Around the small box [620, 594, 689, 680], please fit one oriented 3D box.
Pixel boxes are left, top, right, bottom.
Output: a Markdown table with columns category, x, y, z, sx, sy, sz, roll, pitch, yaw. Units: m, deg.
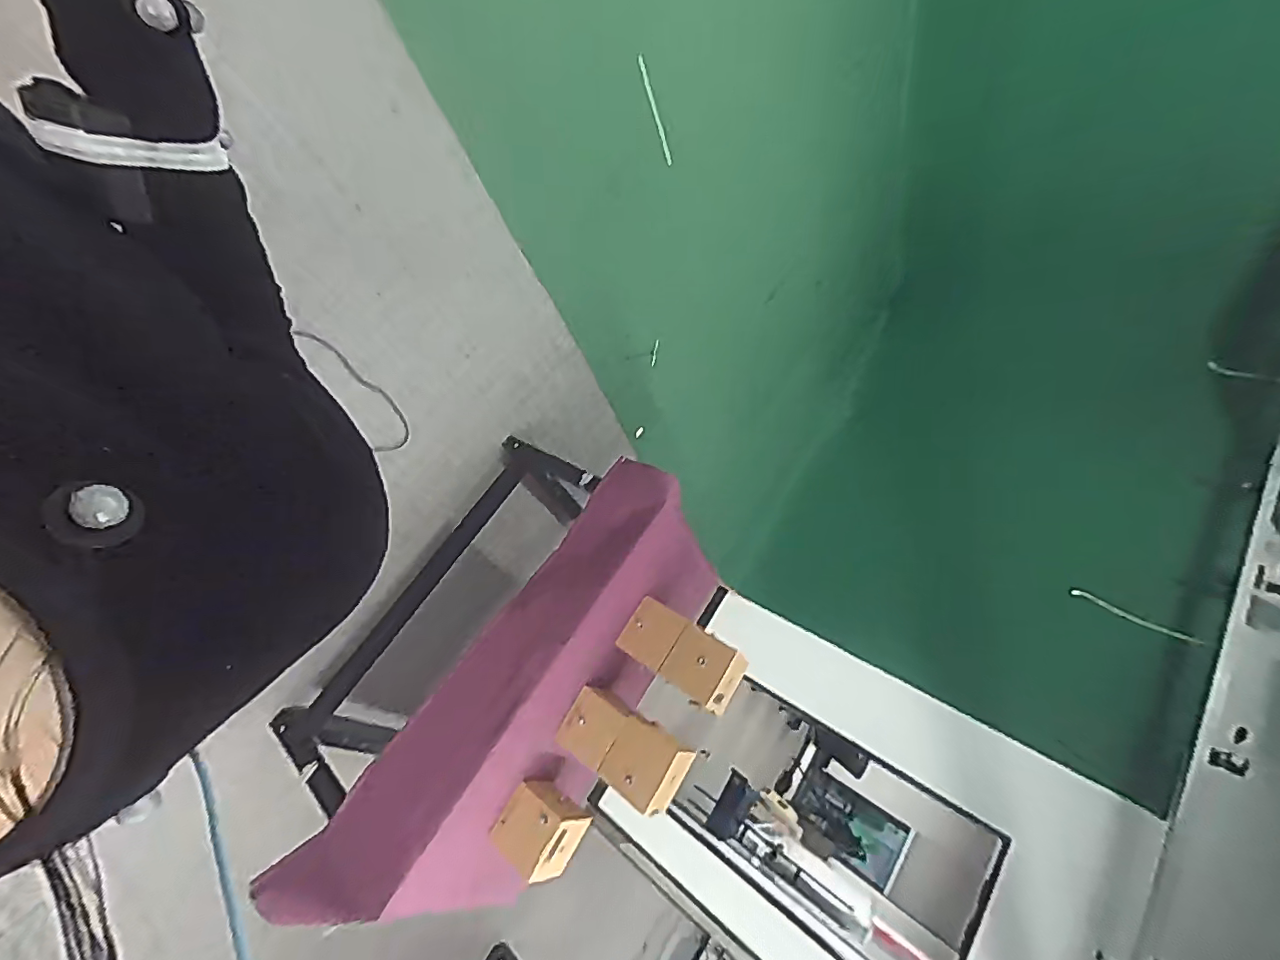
| category | x | y | z | sx | sy | sz | roll | pitch | yaw |
| --- | --- | --- | --- | --- | --- | --- | --- | --- | --- |
| small box | 0.059 | 0.481 | 1.652 | 0.179 | 0.176 | 0.168 | -55 | 145 | -14 |

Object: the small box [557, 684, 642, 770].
| category | x | y | z | sx | sy | sz | roll | pitch | yaw |
| --- | --- | --- | --- | --- | --- | --- | --- | --- | --- |
| small box | -0.106 | 0.718 | 1.577 | 0.168 | 0.176 | 0.179 | -59 | 145 | -10 |

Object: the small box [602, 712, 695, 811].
| category | x | y | z | sx | sy | sz | roll | pitch | yaw |
| --- | --- | --- | --- | --- | --- | --- | --- | --- | --- |
| small box | 0.017 | 0.770 | 1.483 | 0.179 | 0.176 | 0.168 | -58 | 146 | -12 |

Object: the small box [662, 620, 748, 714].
| category | x | y | z | sx | sy | sz | roll | pitch | yaw |
| --- | --- | --- | --- | --- | --- | --- | --- | --- | --- |
| small box | 0.182 | 0.538 | 1.559 | 0.179 | 0.176 | 0.168 | -56 | 144 | -15 |
